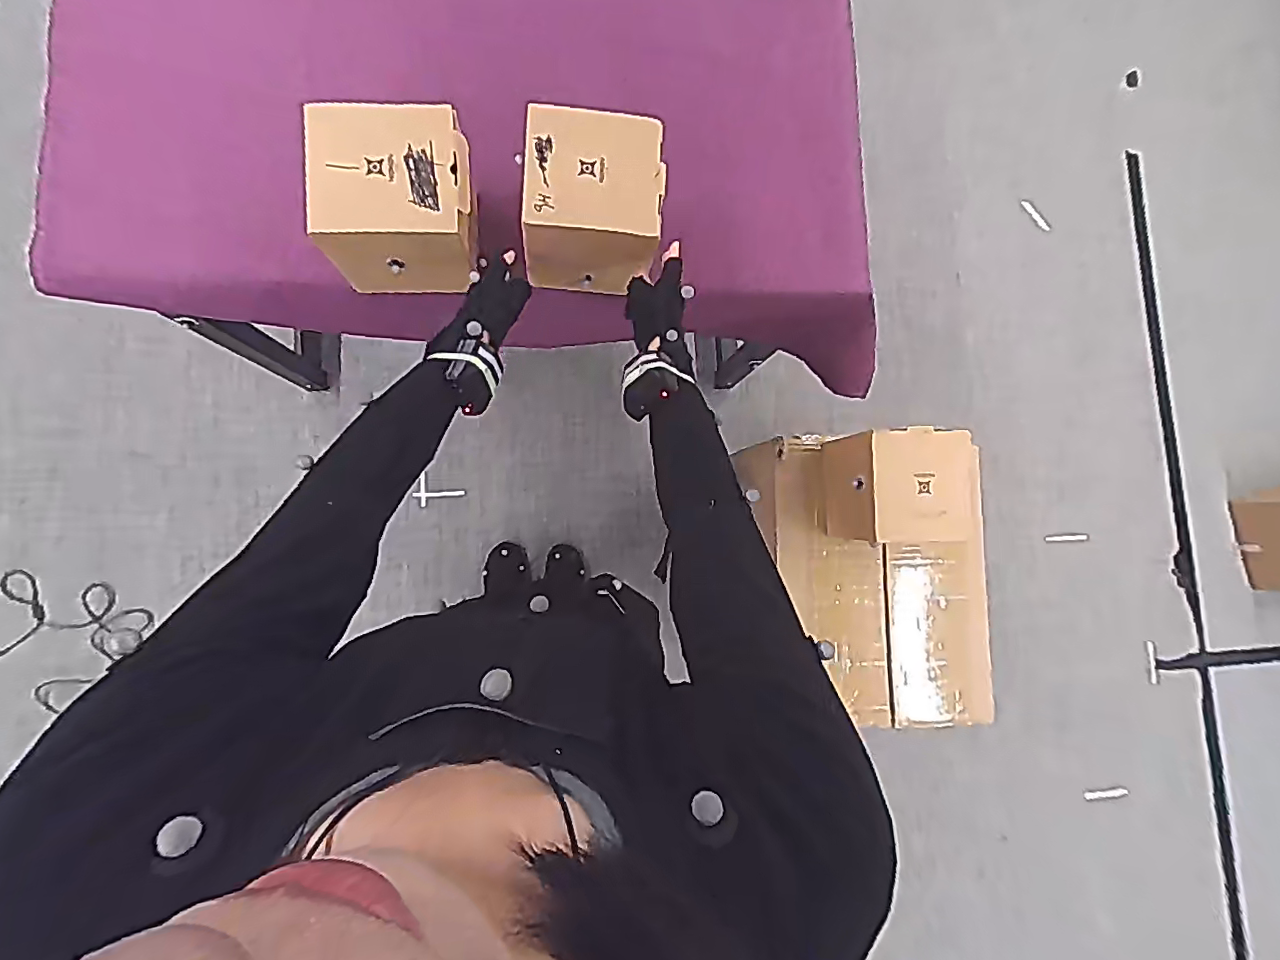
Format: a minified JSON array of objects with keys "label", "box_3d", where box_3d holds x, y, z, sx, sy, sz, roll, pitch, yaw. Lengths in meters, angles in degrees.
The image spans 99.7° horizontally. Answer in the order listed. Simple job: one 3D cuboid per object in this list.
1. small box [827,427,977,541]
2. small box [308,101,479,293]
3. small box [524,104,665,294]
[{"label":"small box","box_3d":[0.427,0.011,0.906,0.168,0.176,0.179,-1,87,-6]},{"label":"small box","box_3d":[-0.316,-0.366,0.728,0.179,0.176,0.168,-3,84,-7]},{"label":"small box","box_3d":[-0.068,-0.380,0.765,0.179,0.176,0.168,3,82,-9]}]
